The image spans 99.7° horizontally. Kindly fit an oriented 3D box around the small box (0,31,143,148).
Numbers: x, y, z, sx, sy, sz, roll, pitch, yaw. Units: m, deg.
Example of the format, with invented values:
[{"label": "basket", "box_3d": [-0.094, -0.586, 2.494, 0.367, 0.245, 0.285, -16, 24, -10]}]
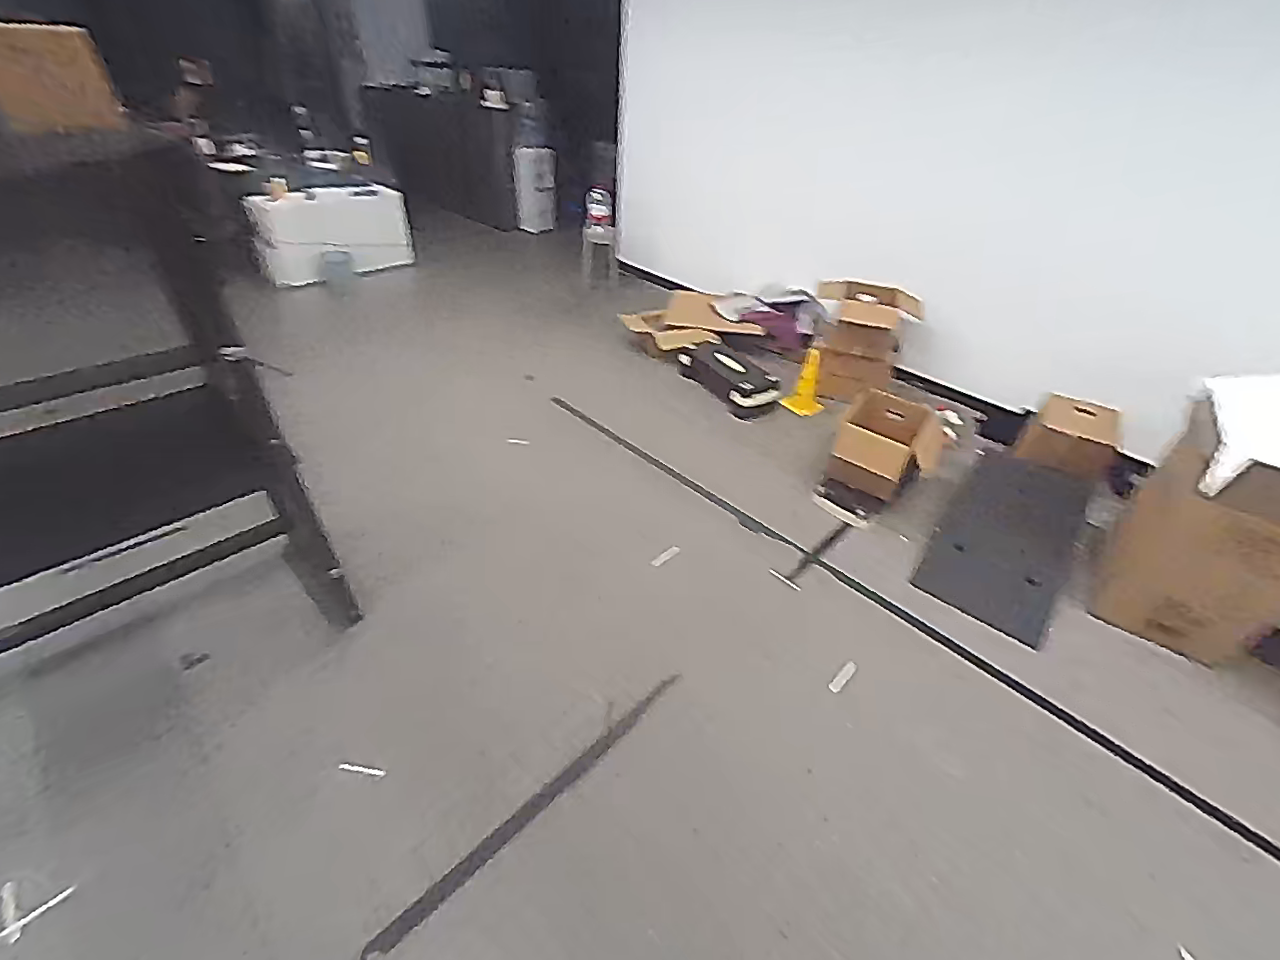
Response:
[{"label": "small box", "box_3d": [-1.080, -0.728, 1.012, 0.168, 0.176, 0.179, -27, 47, -31]}]
